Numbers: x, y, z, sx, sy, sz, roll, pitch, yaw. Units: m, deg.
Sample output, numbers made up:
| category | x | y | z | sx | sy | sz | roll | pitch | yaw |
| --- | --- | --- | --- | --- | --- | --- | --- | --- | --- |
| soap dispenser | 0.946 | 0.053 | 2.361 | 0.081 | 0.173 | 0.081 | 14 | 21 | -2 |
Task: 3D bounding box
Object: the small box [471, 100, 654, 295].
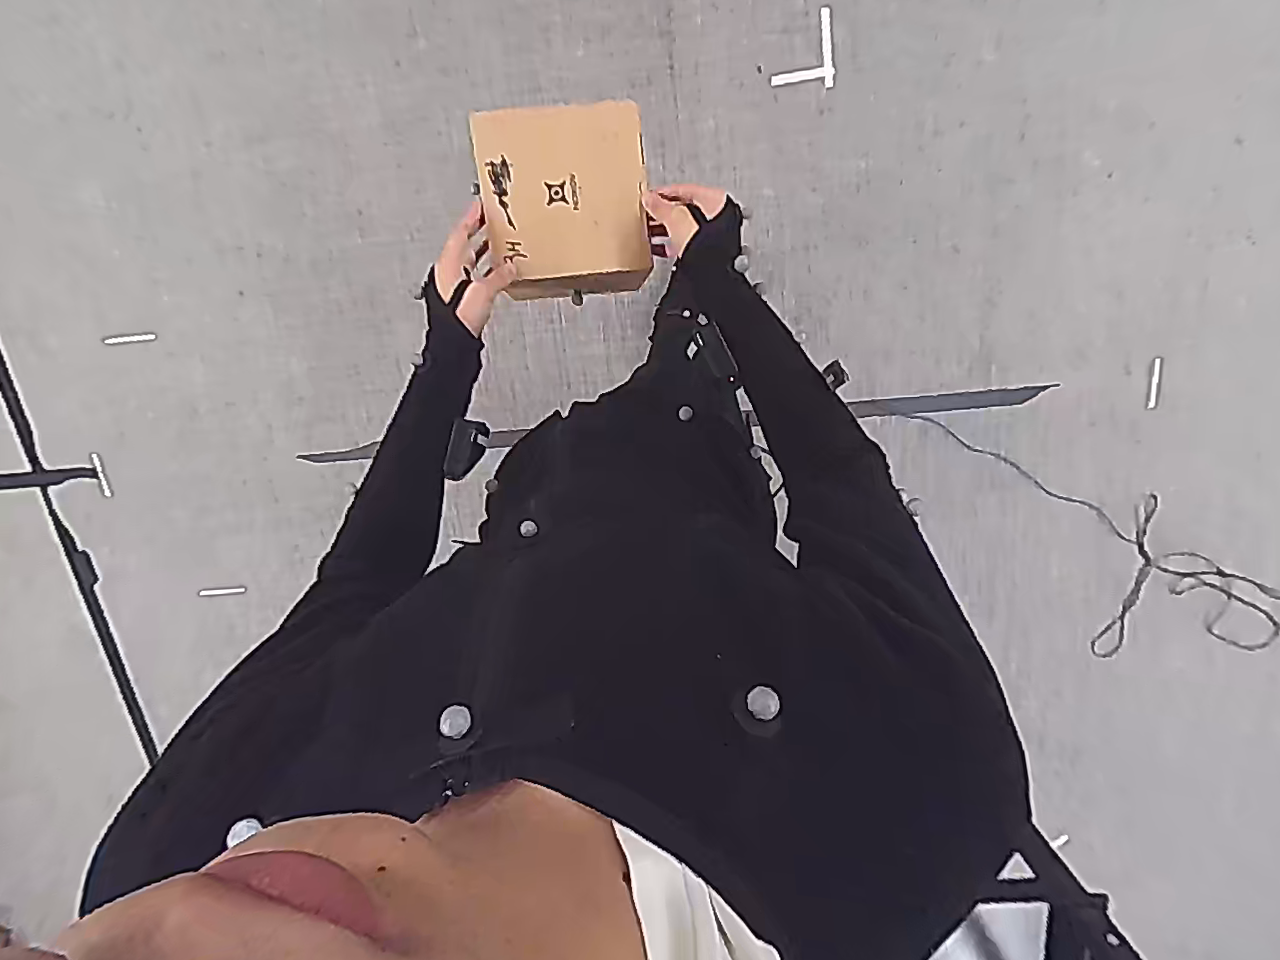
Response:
| category | x | y | z | sx | sy | sz | roll | pitch | yaw |
| --- | --- | --- | --- | --- | --- | --- | --- | --- | --- |
| small box | -0.087 | -0.320 | 0.642 | 0.179 | 0.176 | 0.168 | -7 | 102 | -5 |
